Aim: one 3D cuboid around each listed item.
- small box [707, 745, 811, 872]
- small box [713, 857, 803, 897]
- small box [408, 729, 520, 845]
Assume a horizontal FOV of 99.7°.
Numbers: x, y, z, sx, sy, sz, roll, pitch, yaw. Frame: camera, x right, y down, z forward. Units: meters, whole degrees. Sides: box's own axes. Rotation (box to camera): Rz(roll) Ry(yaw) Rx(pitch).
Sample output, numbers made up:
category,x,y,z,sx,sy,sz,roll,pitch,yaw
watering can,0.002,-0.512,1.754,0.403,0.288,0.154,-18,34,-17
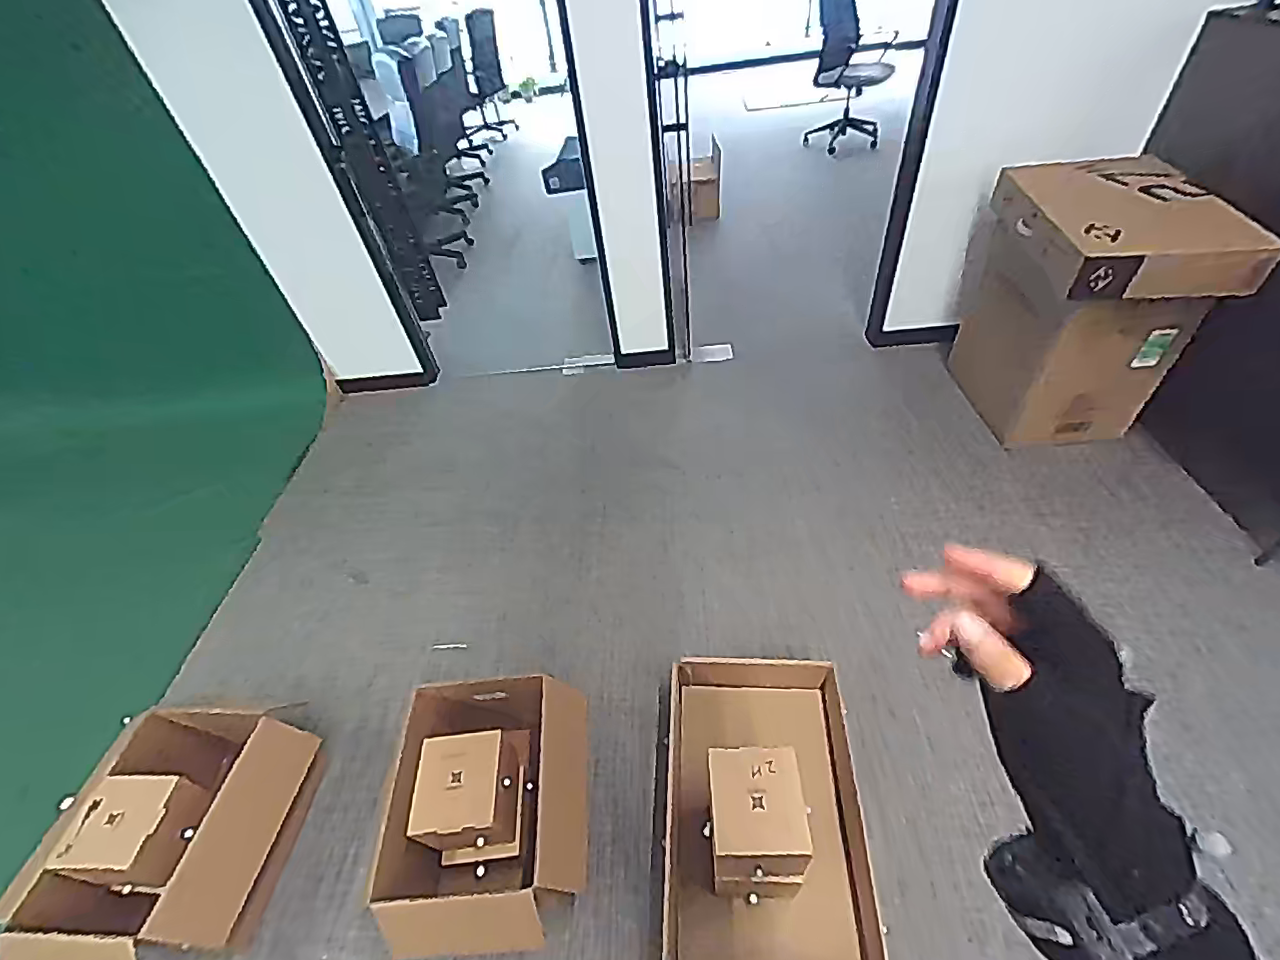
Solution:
category,x,y,z,sx,sy,sz,roll,pitch,yaw
small box,0.215,0.622,1.020,0.168,0.176,0.179,-3,44,4
small box,0.235,0.744,1.129,0.168,0.176,0.179,-2,44,6
small box,-0.353,0.643,1.125,0.168,0.176,0.179,-7,47,1
